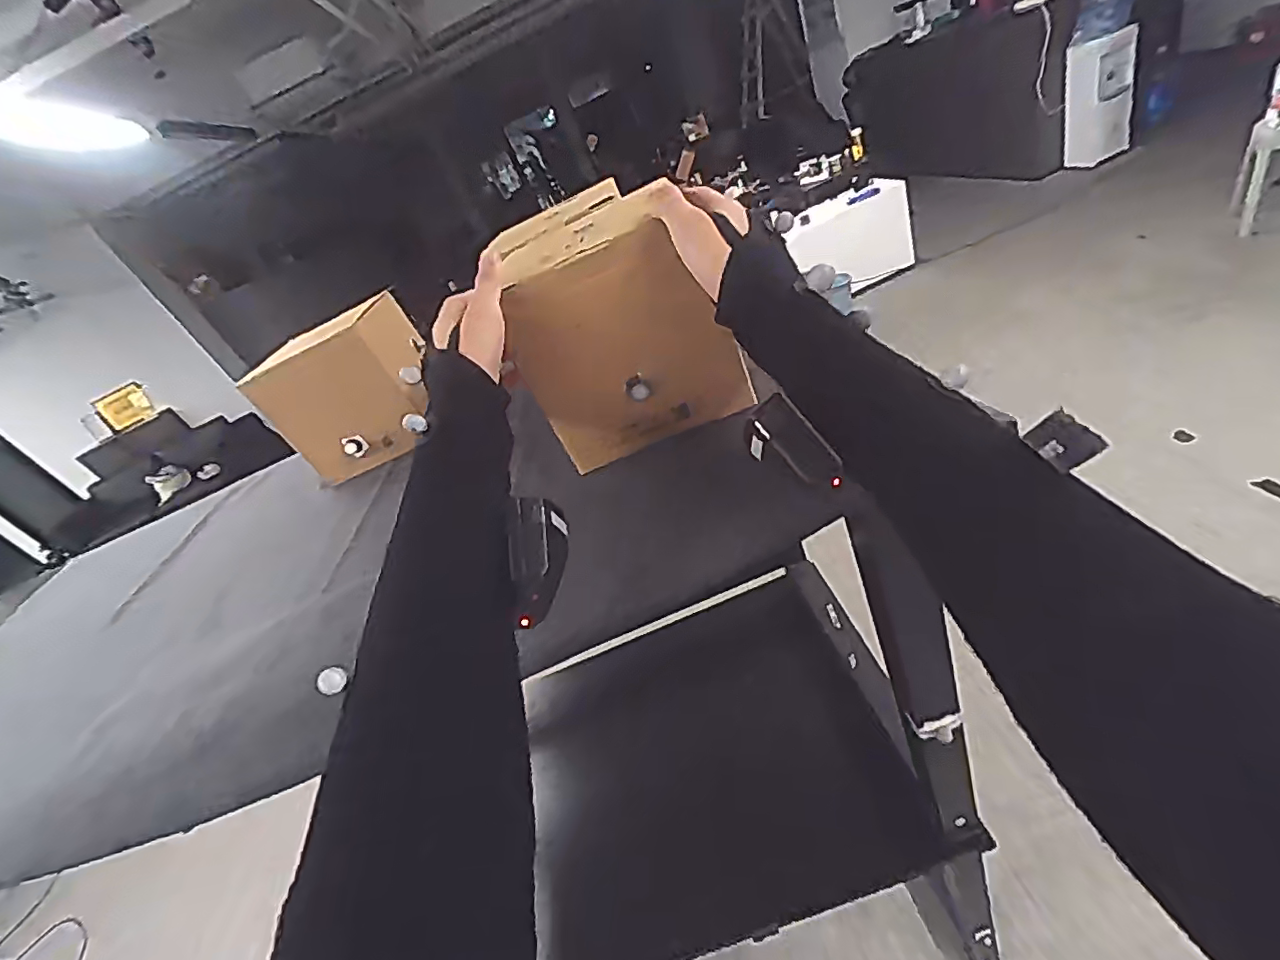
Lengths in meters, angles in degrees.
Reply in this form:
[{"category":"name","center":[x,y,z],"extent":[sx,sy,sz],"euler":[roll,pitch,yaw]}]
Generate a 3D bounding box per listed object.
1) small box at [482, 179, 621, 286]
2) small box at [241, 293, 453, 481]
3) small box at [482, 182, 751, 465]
[{"category":"small box","center":[-0.069,-0.241,0.672],"extent":[0.168,0.176,0.179],"euler":[-21,34,10]},{"category":"small box","center":[-0.380,-0.128,0.743],"extent":[0.168,0.176,0.179],"euler":[-25,32,5]},{"category":"small box","center":[-0.013,-0.142,0.492],"extent":[0.168,0.176,0.179],"euler":[-21,32,11]}]
